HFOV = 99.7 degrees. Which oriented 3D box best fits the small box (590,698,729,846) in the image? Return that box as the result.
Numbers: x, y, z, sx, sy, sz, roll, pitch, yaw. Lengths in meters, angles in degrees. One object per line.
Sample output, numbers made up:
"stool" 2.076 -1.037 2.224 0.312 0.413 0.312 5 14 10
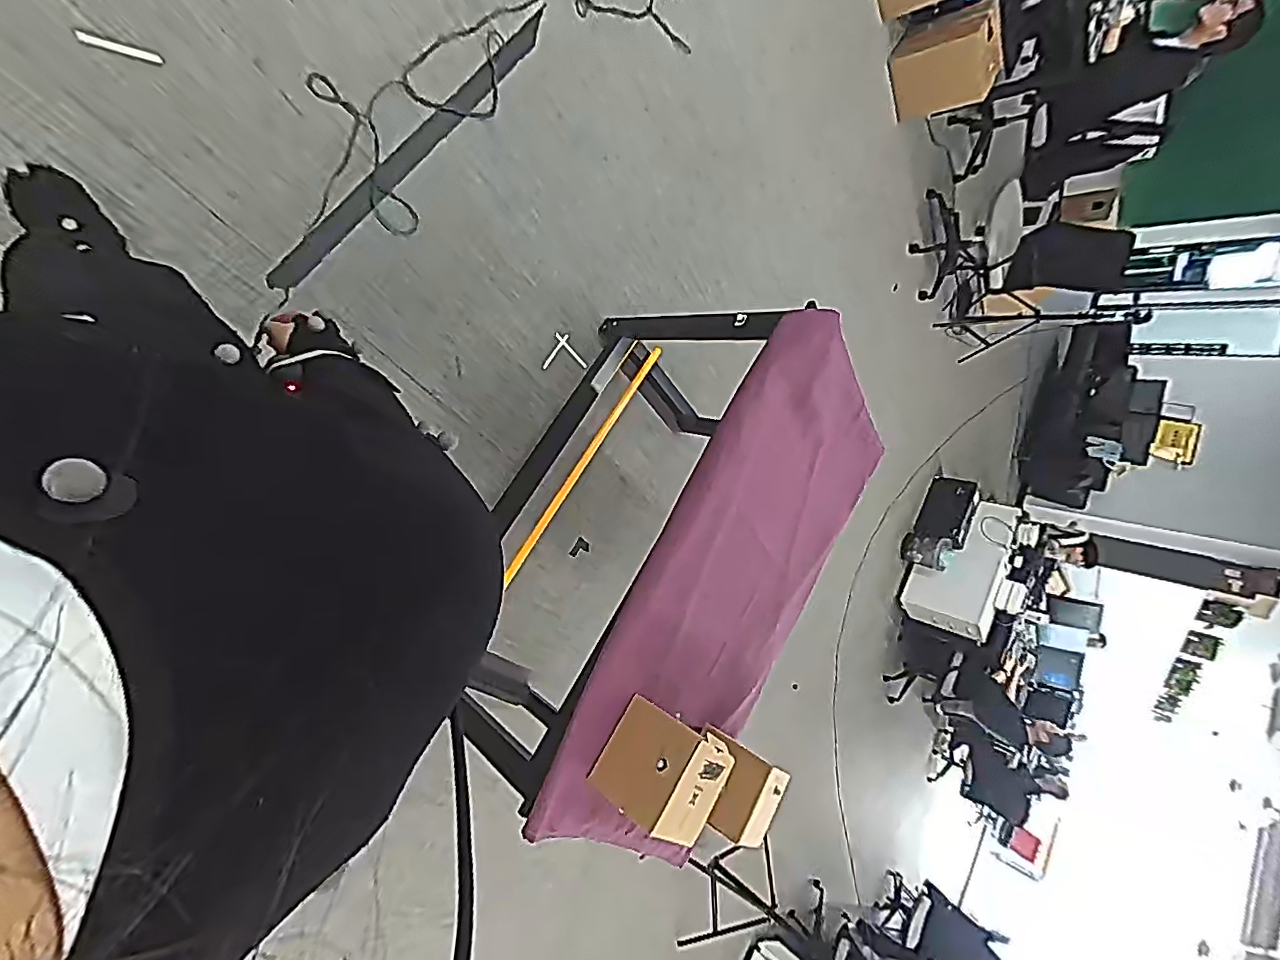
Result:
"small box" 0.036 0.546 1.026 0.179 0.176 0.168 -57 135 -18
